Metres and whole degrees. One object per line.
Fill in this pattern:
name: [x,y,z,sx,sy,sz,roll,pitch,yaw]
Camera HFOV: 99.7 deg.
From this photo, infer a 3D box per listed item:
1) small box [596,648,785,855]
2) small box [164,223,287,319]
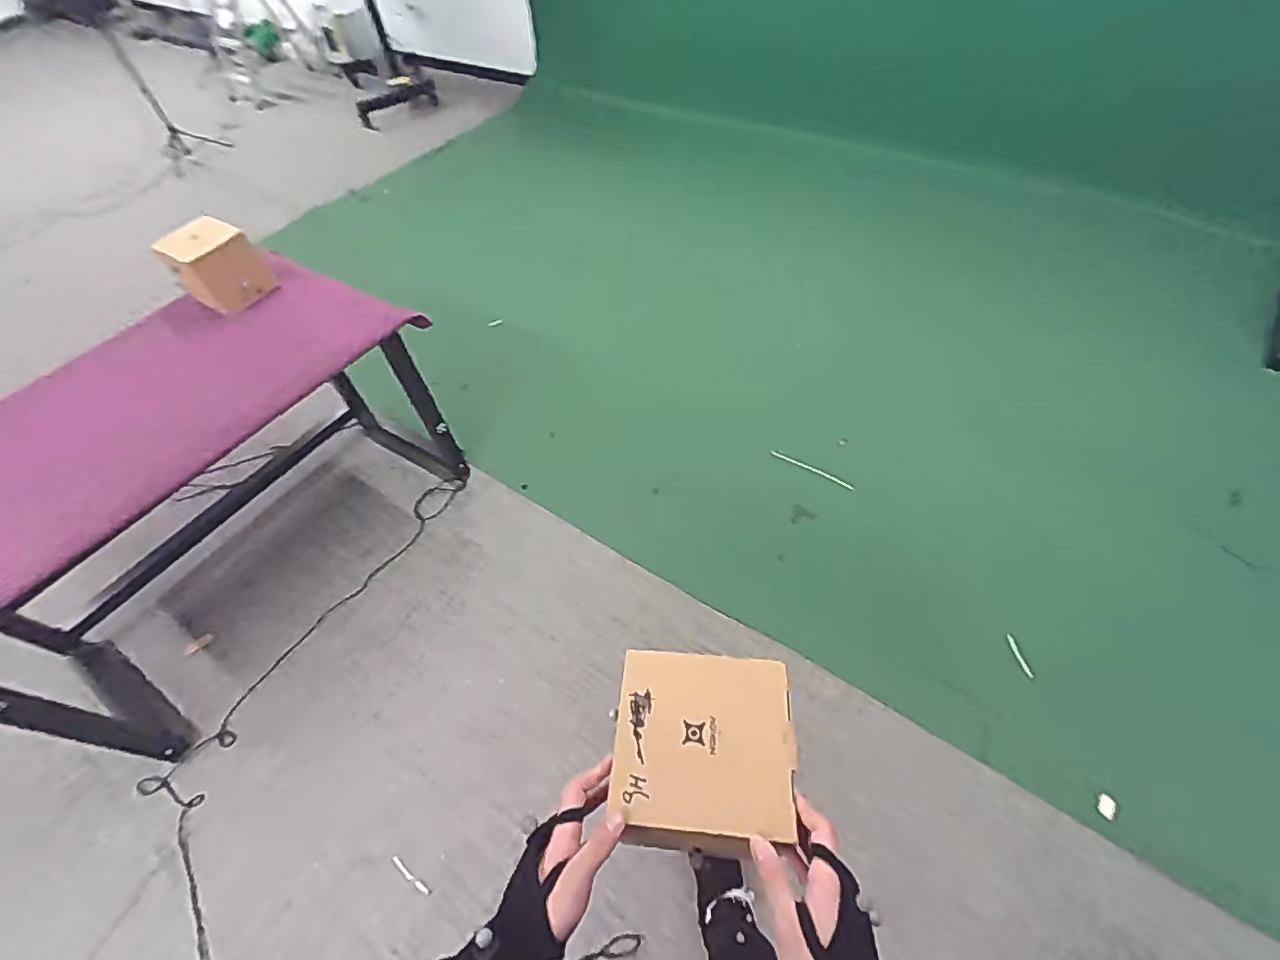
small box: [0.058,0.307,0.606,0.179,0.176,0.168,3,50,7]
small box: [-1.141,-0.575,1.499,0.179,0.176,0.168,26,64,21]
